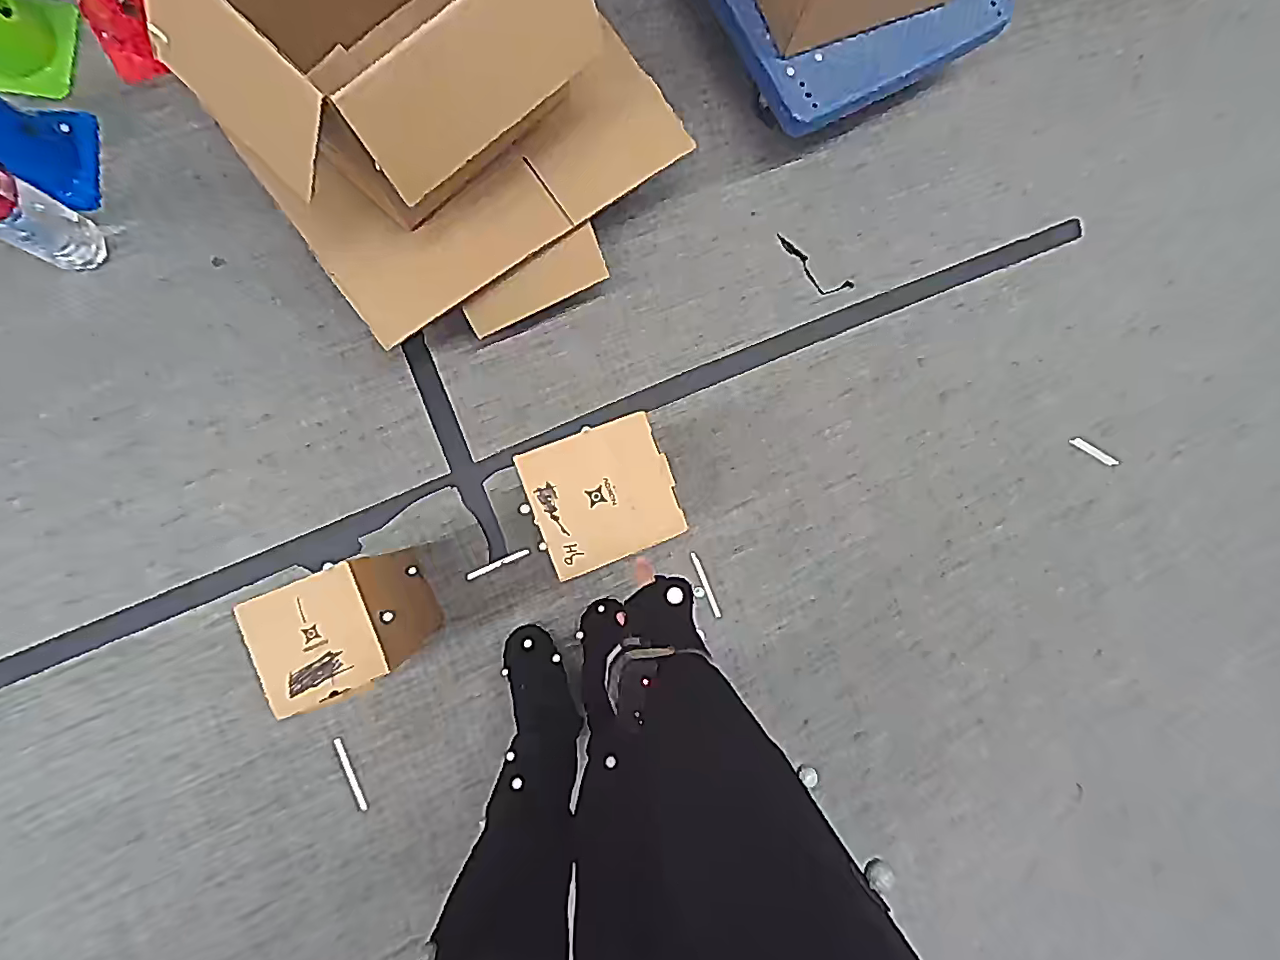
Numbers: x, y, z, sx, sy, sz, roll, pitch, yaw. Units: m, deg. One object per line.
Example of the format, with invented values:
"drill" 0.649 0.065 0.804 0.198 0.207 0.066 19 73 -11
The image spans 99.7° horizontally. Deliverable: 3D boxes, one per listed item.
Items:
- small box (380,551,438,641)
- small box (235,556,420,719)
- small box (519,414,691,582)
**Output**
"small box" -0.495 0.241 1.004 0.179 0.176 0.168 -25 90 -7
"small box" -0.469 0.231 0.842 0.168 0.176 0.179 -22 88 -8
"small box" -0.055 0.022 0.743 0.179 0.176 0.168 -21 91 -10
